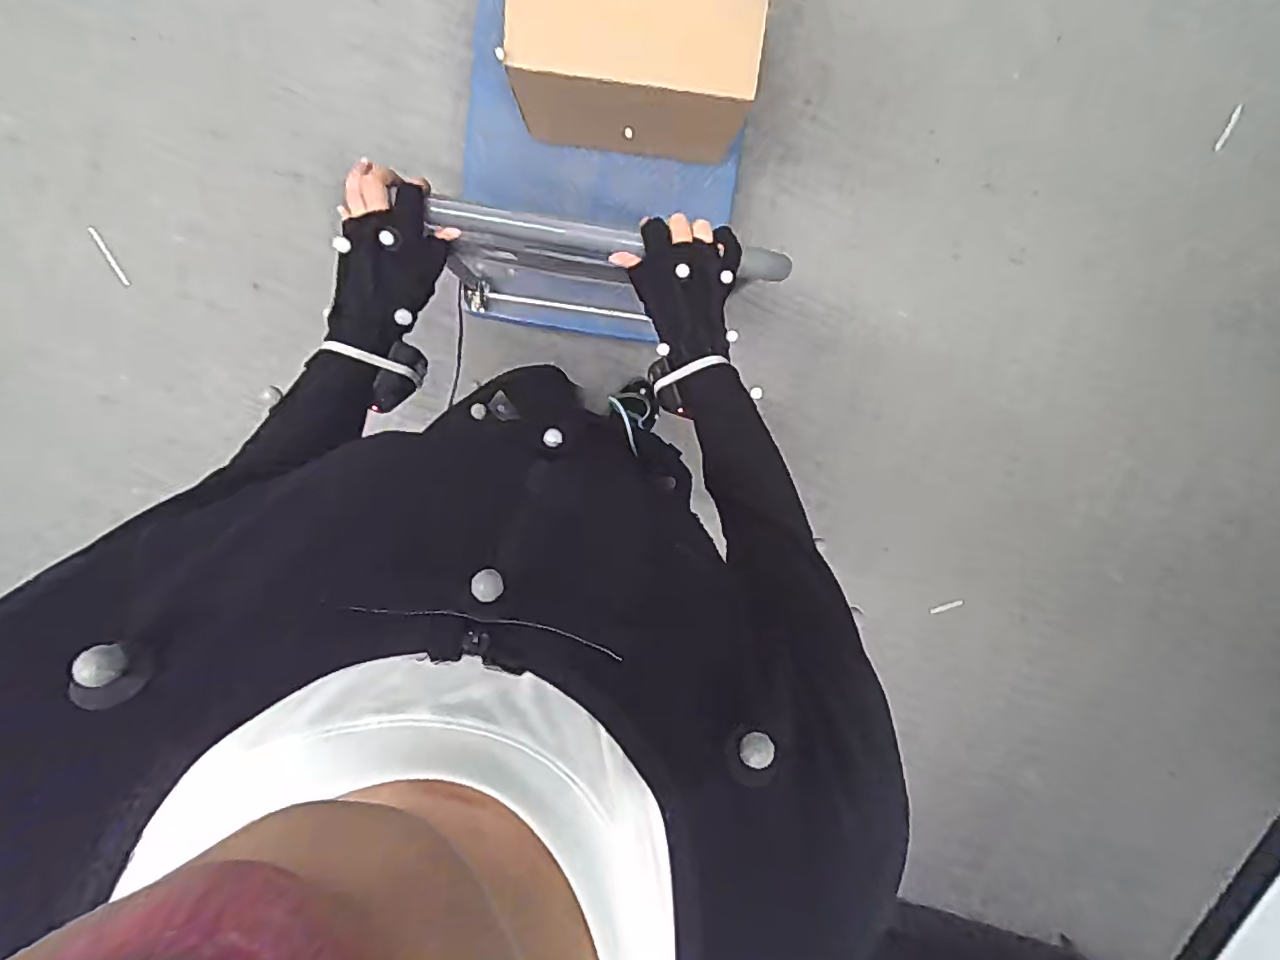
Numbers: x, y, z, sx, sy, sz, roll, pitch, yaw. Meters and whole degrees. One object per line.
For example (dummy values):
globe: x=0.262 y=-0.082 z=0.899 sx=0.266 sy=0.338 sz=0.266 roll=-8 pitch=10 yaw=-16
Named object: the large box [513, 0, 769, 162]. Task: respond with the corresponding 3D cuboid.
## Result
large box: x=0.004 y=-0.808 z=0.980 sx=0.408 sy=0.320 sz=0.320 roll=5 pitch=102 yaw=-3
